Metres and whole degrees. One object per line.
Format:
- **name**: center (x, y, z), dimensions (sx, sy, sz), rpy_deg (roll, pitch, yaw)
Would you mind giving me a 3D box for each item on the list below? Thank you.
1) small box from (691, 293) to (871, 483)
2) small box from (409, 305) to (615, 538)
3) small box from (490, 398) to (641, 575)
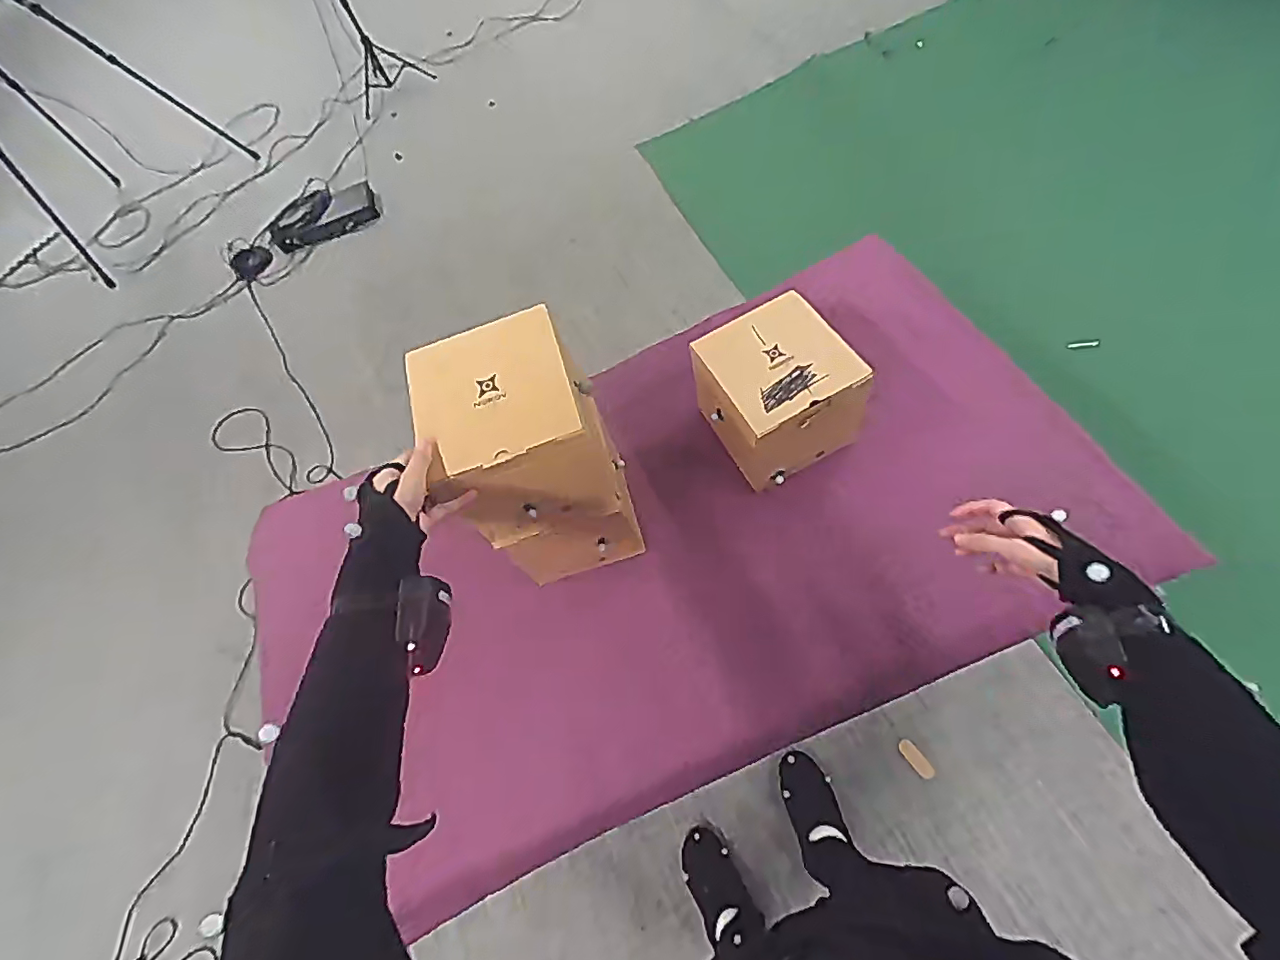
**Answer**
- **small box**: center (0.190, -0.117, 0.759), dimensions (0.168, 0.176, 0.179), rpy_deg (-27, 61, -2)
- **small box**: center (-0.138, -0.058, 0.616), dimensions (0.168, 0.176, 0.179), rpy_deg (-19, 63, 0)
- **small box**: center (-0.104, 0.021, 0.753), dimensions (0.168, 0.176, 0.179), rpy_deg (-17, 62, 2)
